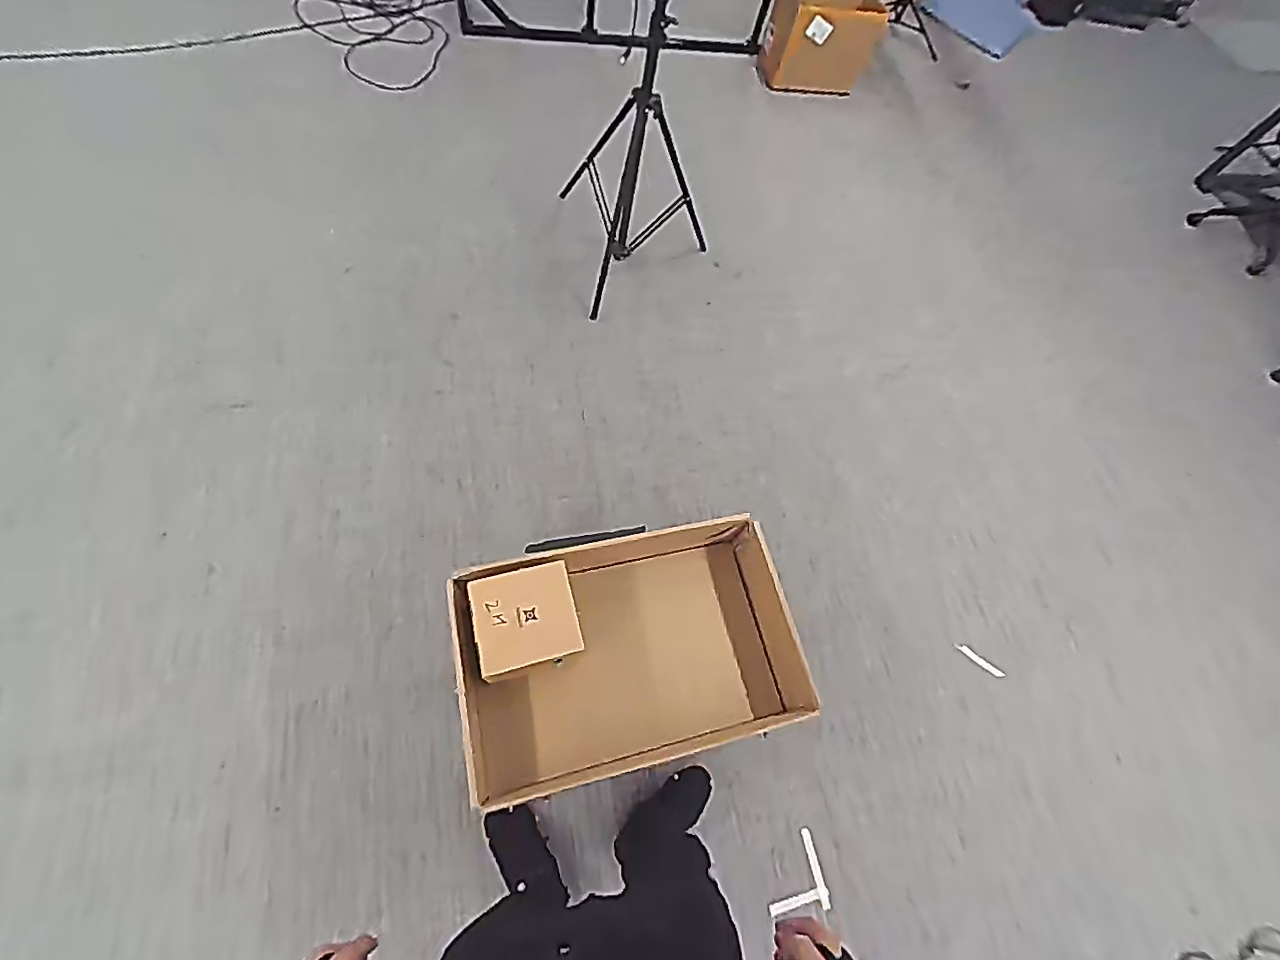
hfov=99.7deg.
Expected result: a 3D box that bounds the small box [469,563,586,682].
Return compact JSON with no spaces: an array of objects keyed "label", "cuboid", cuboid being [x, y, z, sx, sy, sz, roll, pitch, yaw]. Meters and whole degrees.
[{"label":"small box","cuboid":[-0.208,0.269,1.006,0.179,0.176,0.168,-11,68,-14]}]
